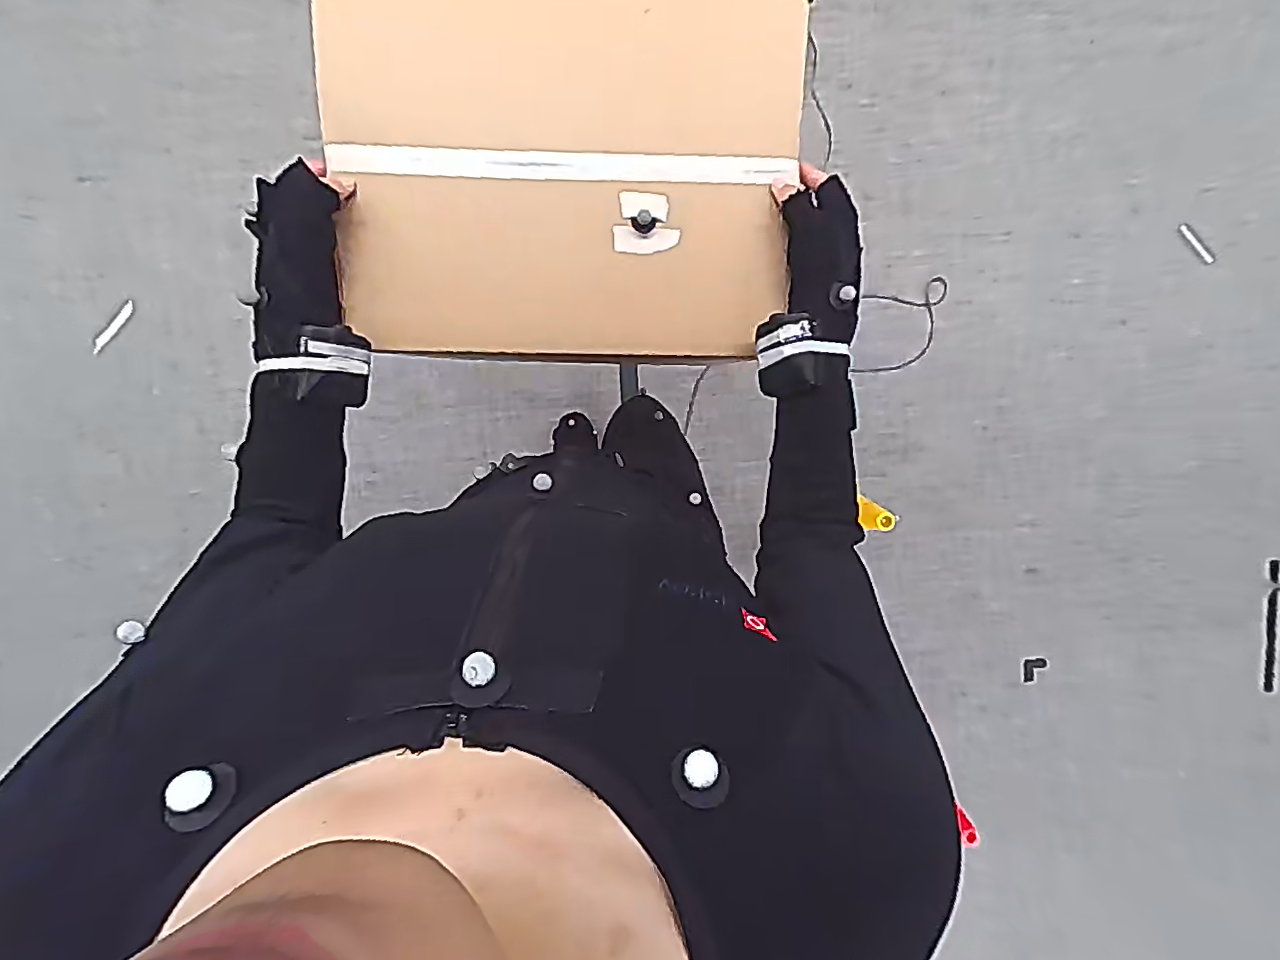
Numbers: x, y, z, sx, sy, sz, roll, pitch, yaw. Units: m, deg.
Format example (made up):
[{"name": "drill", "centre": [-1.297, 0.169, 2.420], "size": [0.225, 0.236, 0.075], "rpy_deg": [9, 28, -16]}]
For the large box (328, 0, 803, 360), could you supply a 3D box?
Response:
[{"name": "large box", "centre": [-0.069, -0.303, 0.620], "size": [0.408, 0.320, 0.320], "rpy_deg": [0, 101, -4]}]
